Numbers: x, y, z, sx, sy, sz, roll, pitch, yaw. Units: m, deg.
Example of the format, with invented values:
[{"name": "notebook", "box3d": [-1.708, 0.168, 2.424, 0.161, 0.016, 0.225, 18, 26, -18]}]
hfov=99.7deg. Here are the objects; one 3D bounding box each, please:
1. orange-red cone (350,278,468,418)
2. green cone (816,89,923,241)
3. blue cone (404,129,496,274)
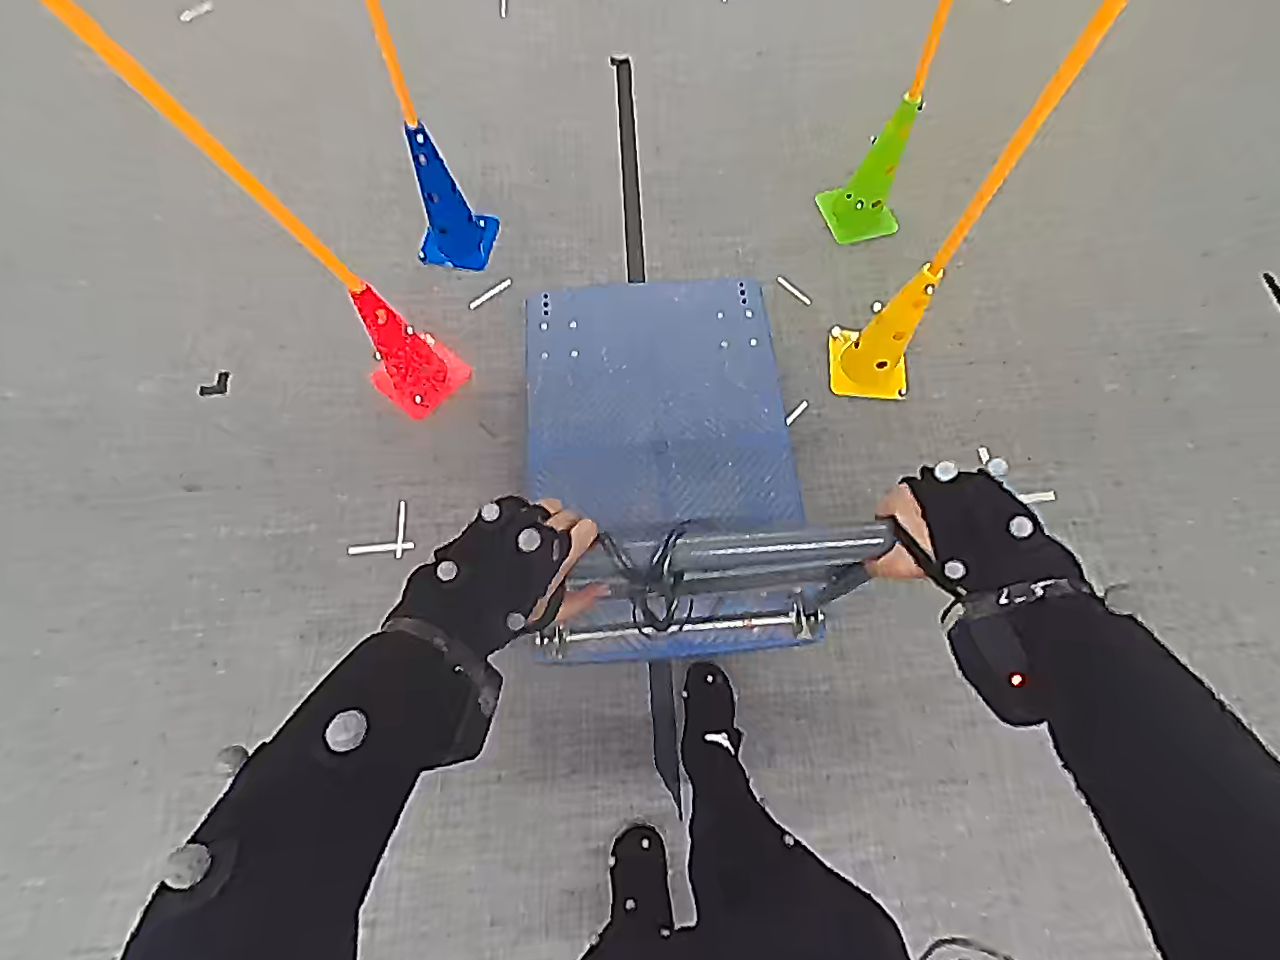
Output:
[{"name": "orange-red cone", "box3d": [-0.576, -0.336, 1.261, 0.198, 0.360, 0.199, 40, 73, 12]}, {"name": "green cone", "box3d": [0.649, -0.864, 1.457, 0.200, 0.368, 0.202, -16, 72, -6]}, {"name": "blue cone", "box3d": [-0.526, -0.745, 1.424, 0.193, 0.380, 0.192, 11, 71, 3]}]
